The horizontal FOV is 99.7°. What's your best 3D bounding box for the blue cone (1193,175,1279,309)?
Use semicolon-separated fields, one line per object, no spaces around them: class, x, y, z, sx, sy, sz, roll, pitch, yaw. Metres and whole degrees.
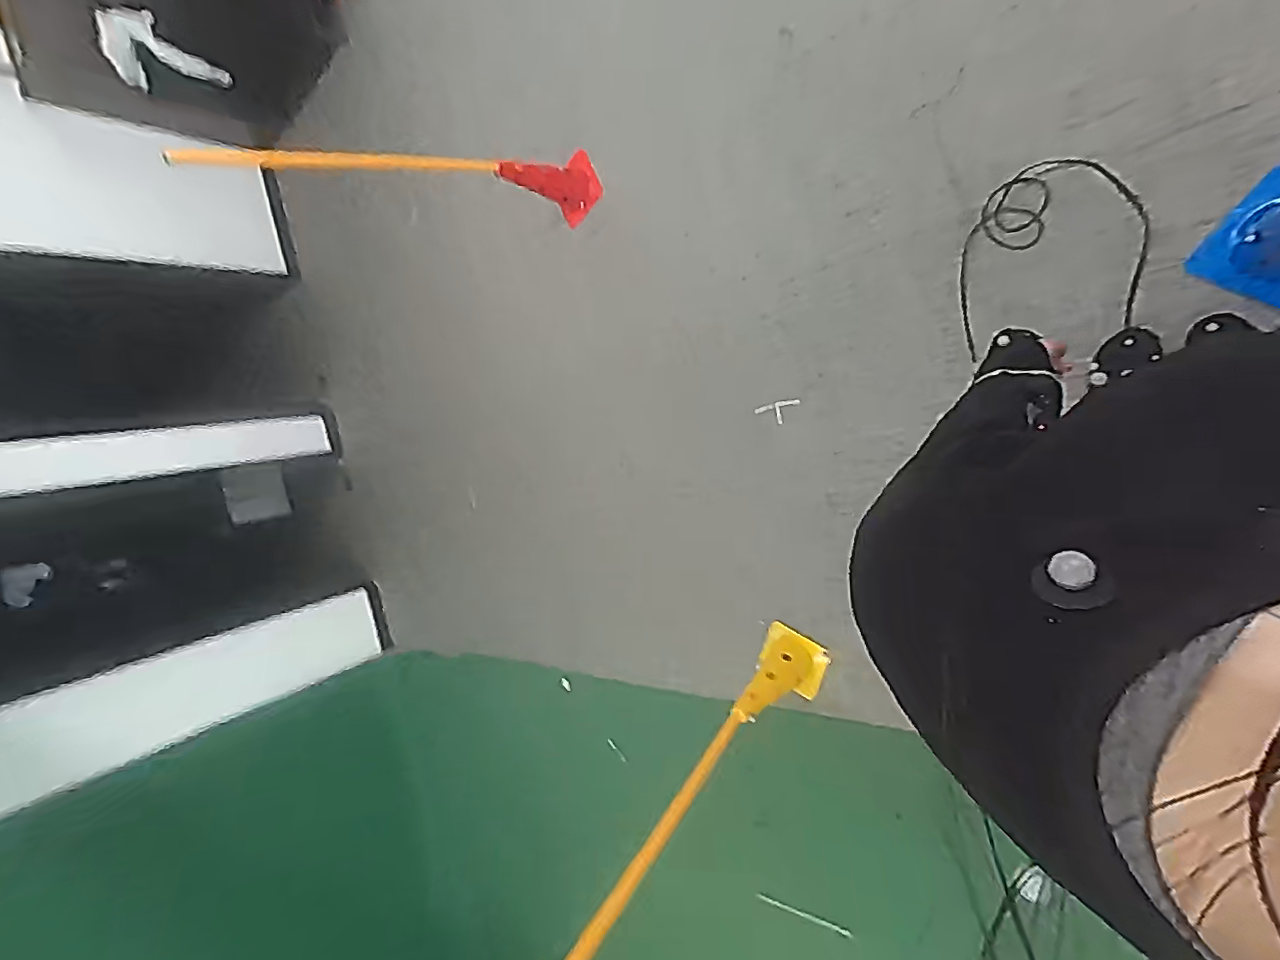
blue cone;1.031;-0.394;0.823;0.192;0.380;0.193;42;121;26
